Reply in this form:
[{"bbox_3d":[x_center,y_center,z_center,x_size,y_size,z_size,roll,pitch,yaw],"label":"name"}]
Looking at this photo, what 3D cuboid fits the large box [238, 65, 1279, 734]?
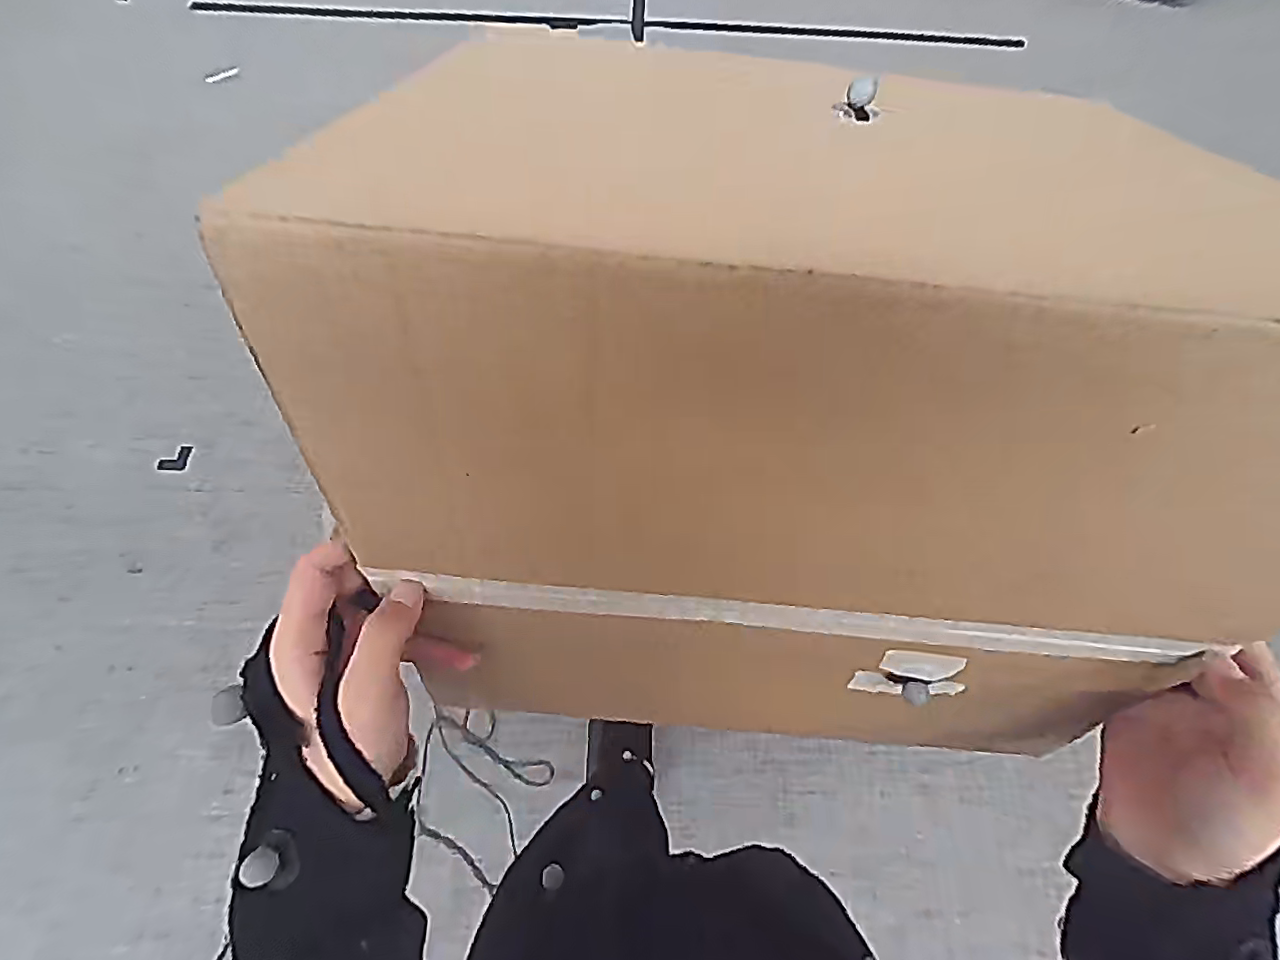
[{"bbox_3d":[0.078,-0.051,0.362,0.408,0.320,0.320,4,47,-2],"label":"large box"}]
